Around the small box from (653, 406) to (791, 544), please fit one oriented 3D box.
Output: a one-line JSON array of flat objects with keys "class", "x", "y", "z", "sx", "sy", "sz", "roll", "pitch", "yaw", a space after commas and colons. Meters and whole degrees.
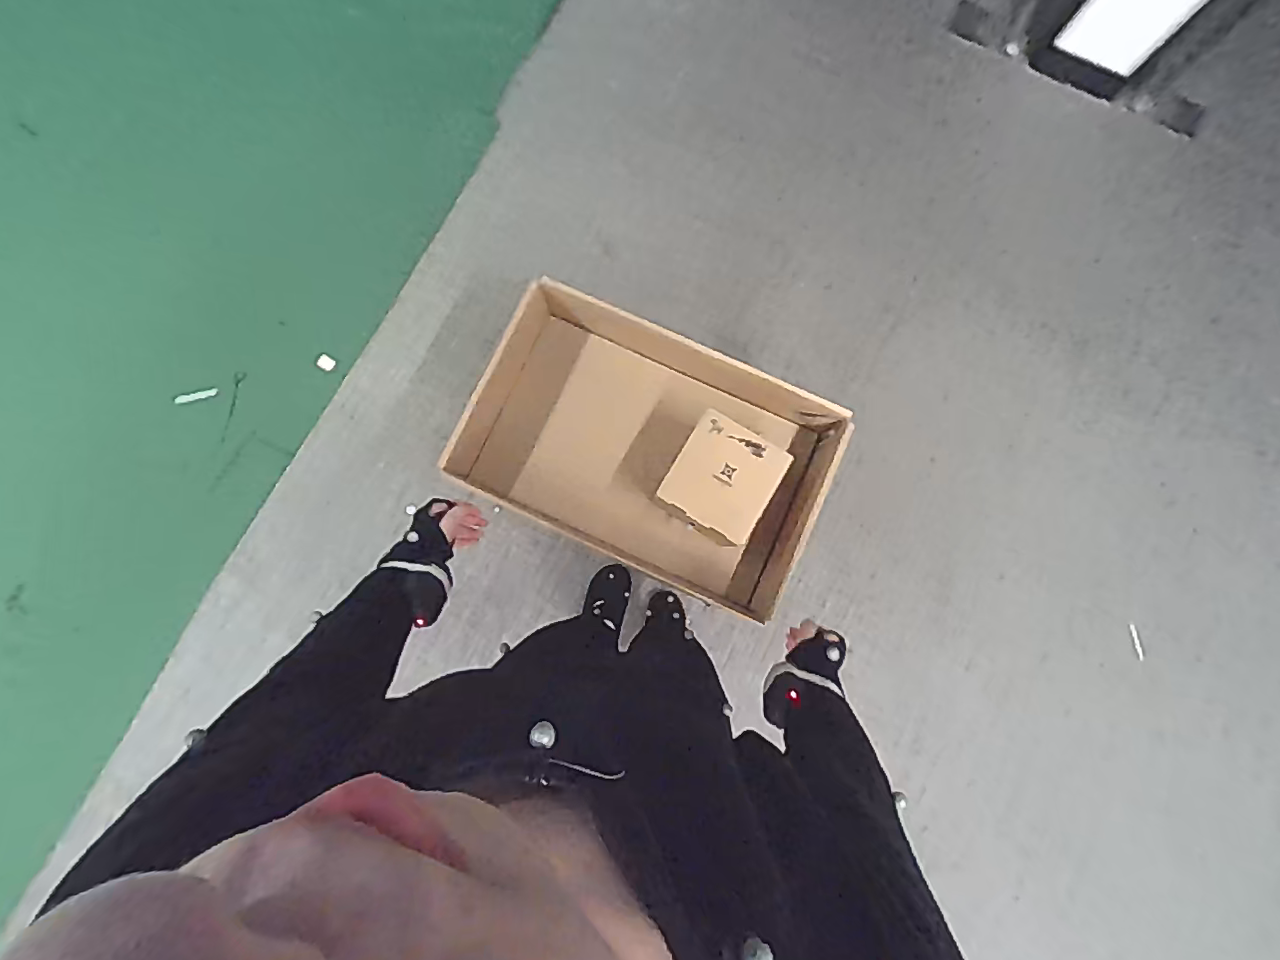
[{"class": "small box", "x": 0.136, "y": -0.002, "z": 0.965, "sx": 0.168, "sy": 0.176, "sz": 0.179, "roll": 32, "pitch": 84, "yaw": 2}]
